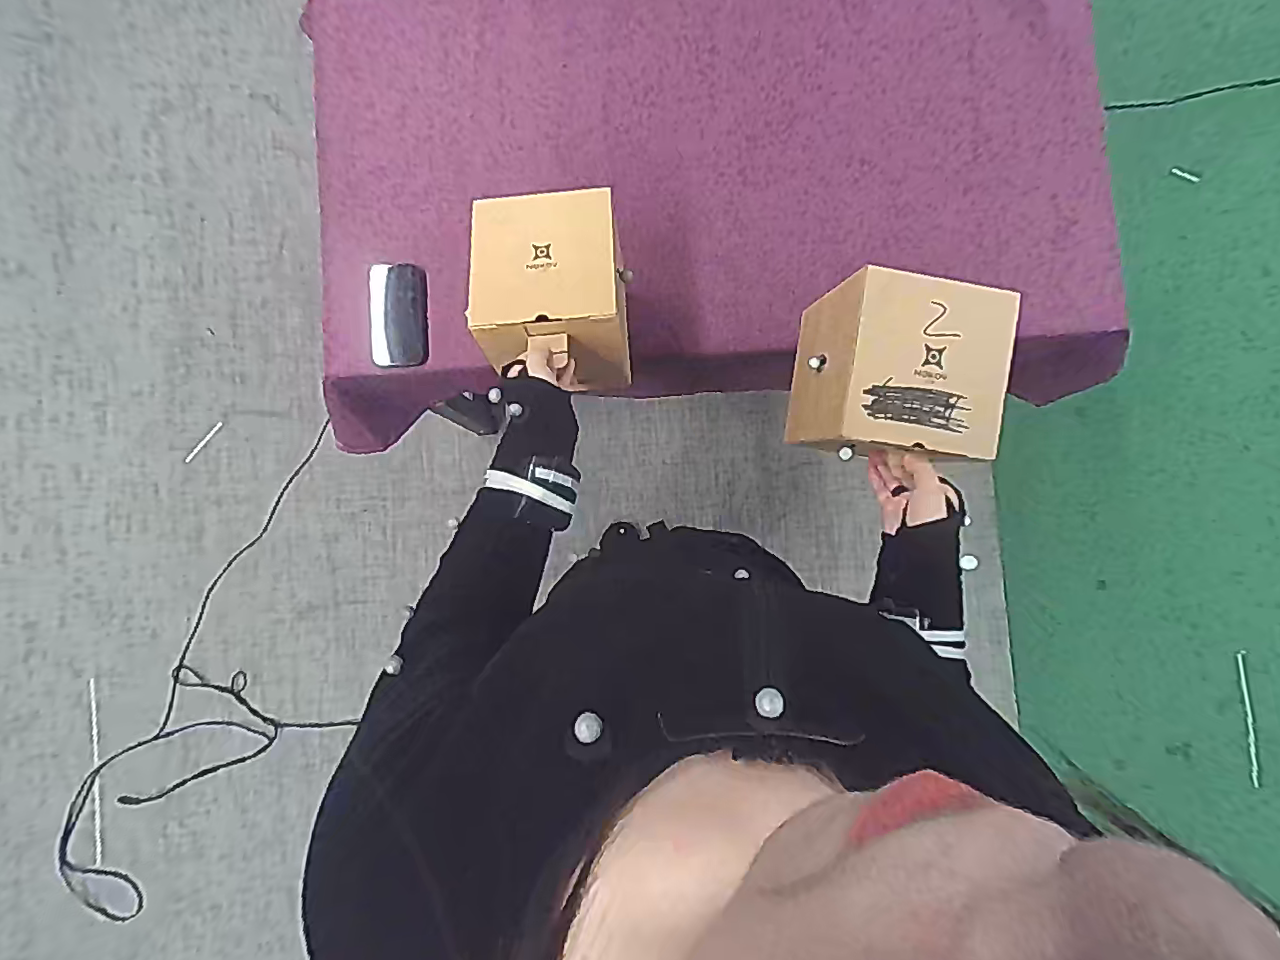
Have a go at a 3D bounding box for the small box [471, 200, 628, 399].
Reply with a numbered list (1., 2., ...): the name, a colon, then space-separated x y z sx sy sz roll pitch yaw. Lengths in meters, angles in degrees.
1. small box: -0.104 -0.220 0.689 0.168 0.176 0.179 -3 73 2
